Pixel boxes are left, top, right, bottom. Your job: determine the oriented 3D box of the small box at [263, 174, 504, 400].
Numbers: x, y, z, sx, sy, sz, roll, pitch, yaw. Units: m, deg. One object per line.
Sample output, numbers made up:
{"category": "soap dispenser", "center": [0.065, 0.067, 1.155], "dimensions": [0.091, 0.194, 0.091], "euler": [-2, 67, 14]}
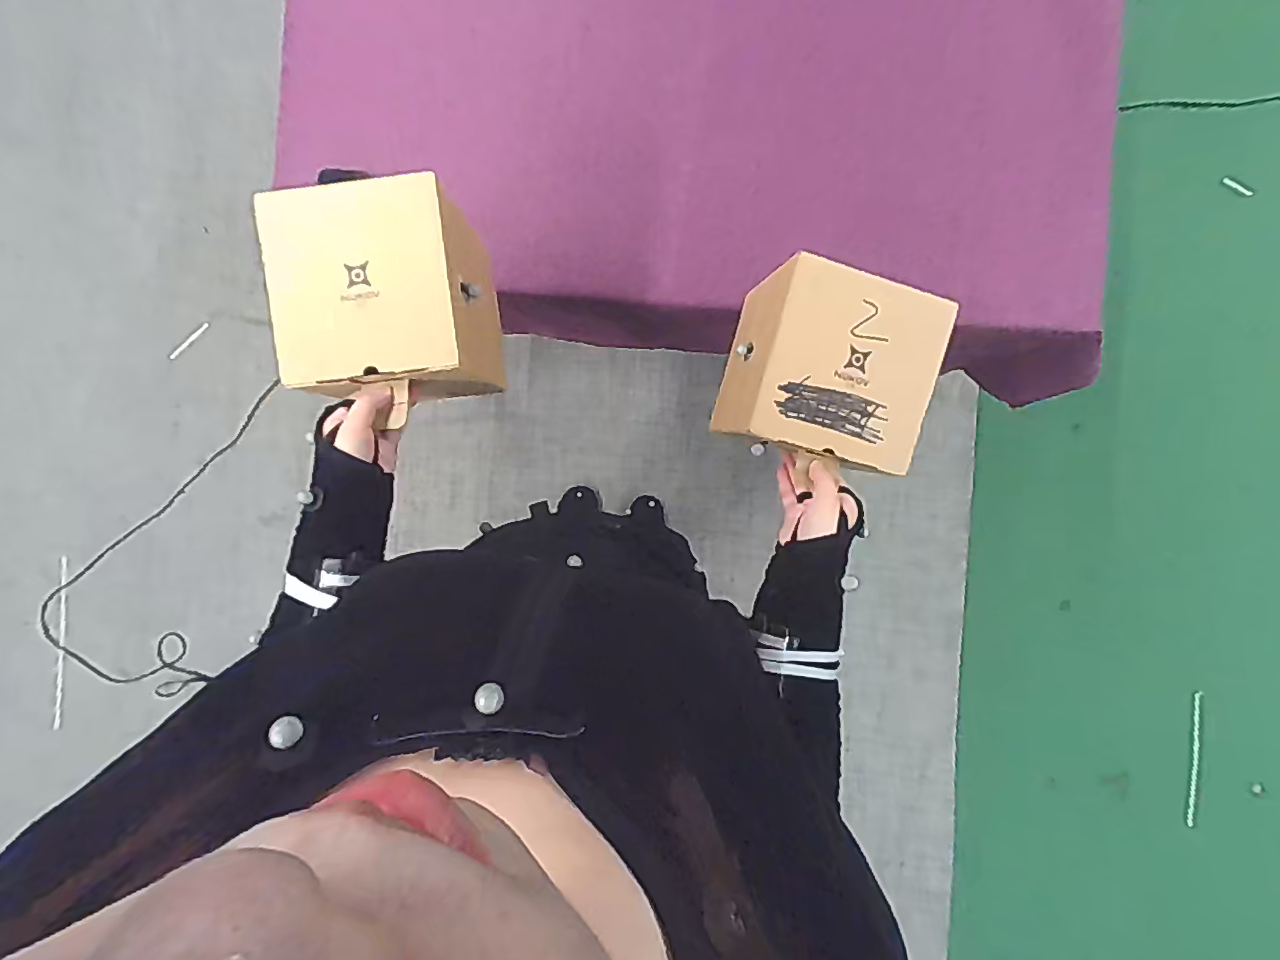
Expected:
{"category": "small box", "center": [-0.252, -0.187, 0.571], "dimensions": [0.168, 0.176, 0.179], "euler": [-6, 93, 1]}
